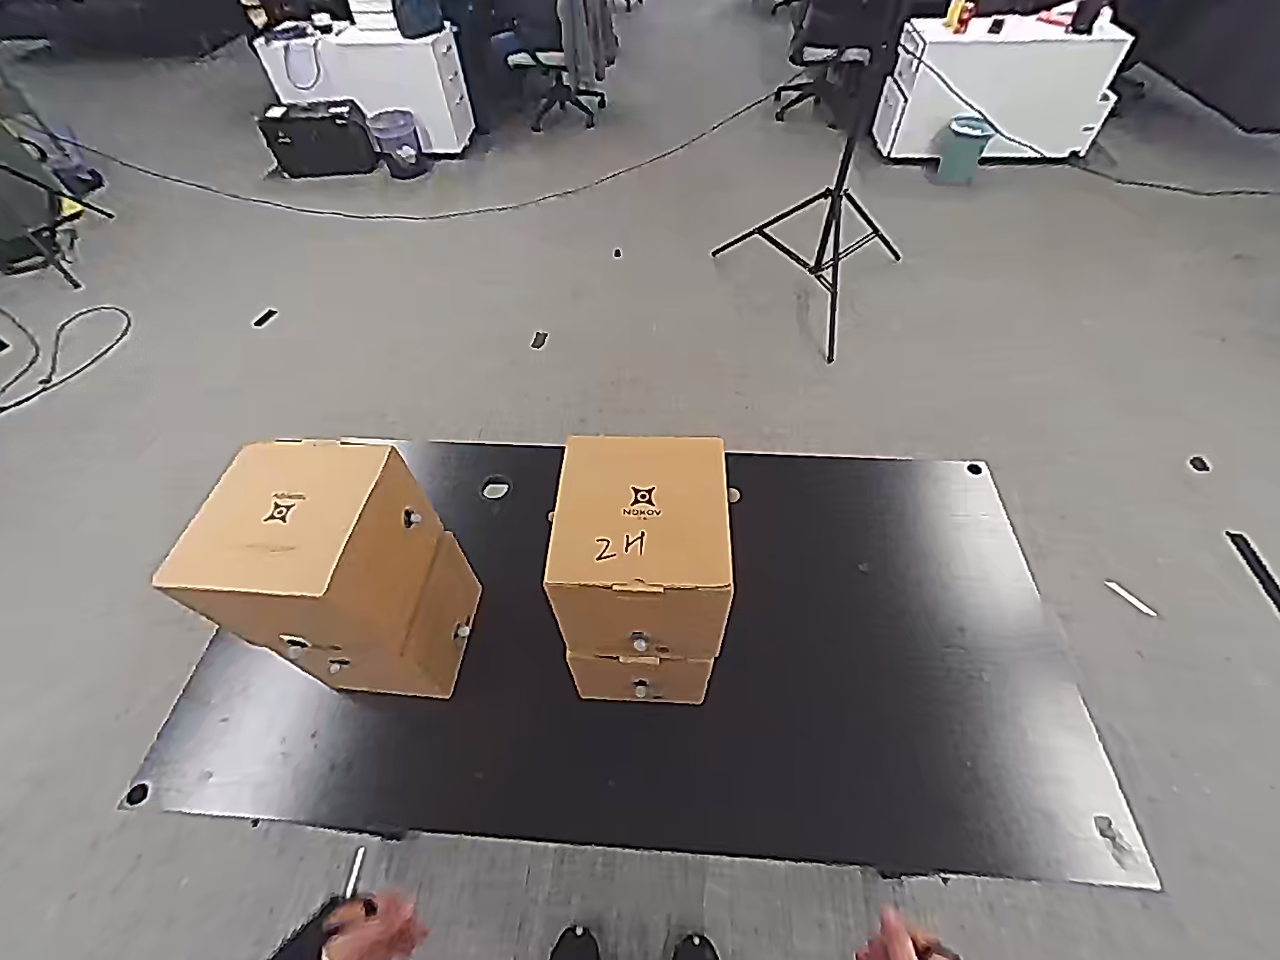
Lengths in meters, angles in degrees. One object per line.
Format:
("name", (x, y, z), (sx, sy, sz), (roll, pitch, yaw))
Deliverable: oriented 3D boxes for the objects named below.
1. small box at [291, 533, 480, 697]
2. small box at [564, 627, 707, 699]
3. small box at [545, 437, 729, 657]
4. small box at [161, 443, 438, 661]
("small box", (-0.335, 0.178, 0.722), (0.179, 0.176, 0.168), (4, 53, 3))
("small box", (0.002, 0.179, 0.714), (0.168, 0.176, 0.179), (1, 52, 3))
("small box", (0.002, 0.073, 0.586), (0.168, 0.176, 0.179), (1, 52, 3))
("small box", (-0.341, 0.080, 0.592), (0.168, 0.176, 0.179), (2, 53, 5))
